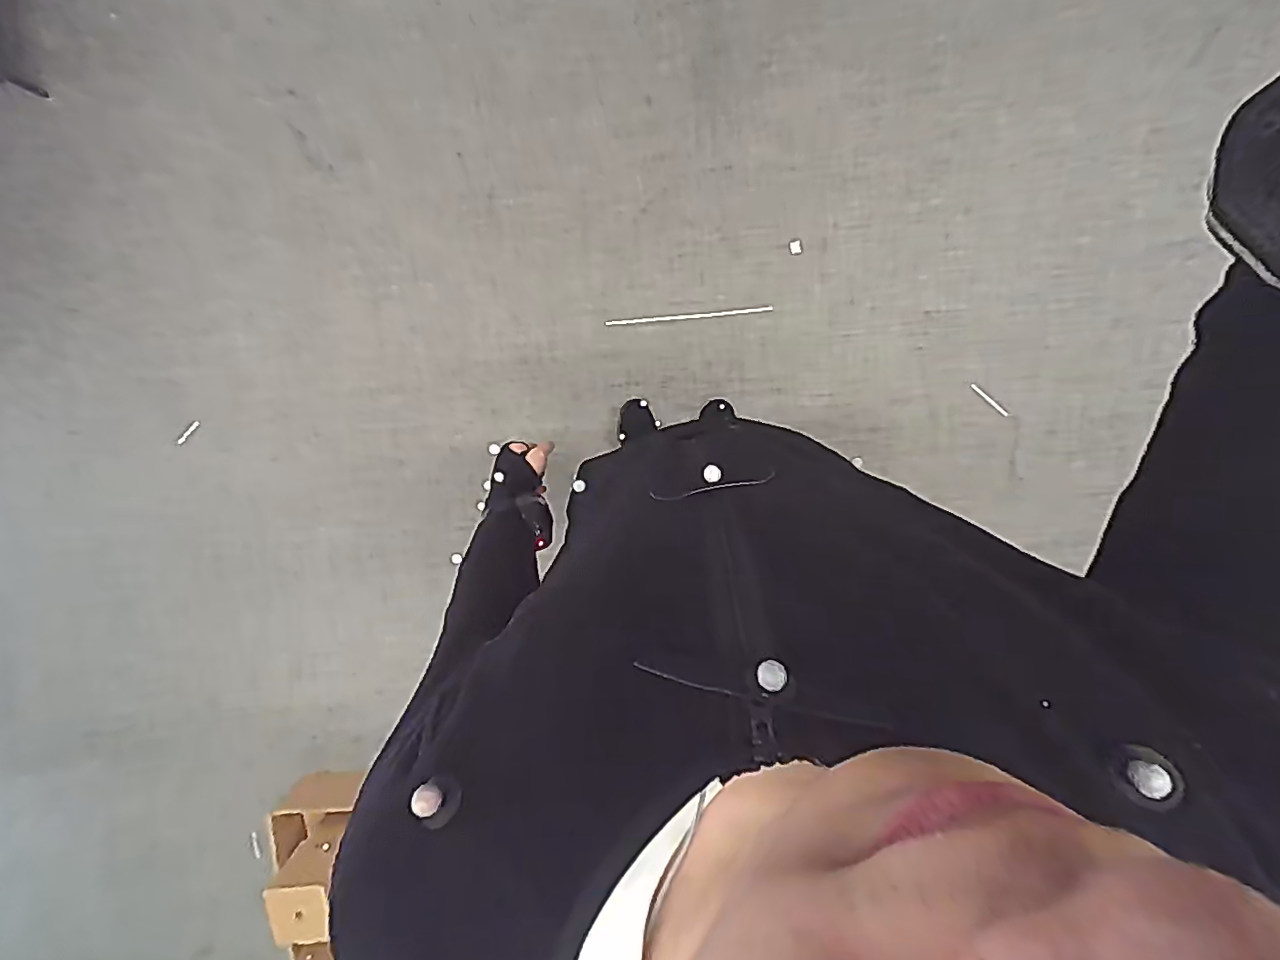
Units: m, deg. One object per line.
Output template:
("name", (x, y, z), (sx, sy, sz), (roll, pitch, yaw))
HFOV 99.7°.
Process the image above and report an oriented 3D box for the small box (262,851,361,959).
("small box", (-0.906, 1.180, 1.507), (0.168, 0.176, 0.179), (-5, 97, 1))
